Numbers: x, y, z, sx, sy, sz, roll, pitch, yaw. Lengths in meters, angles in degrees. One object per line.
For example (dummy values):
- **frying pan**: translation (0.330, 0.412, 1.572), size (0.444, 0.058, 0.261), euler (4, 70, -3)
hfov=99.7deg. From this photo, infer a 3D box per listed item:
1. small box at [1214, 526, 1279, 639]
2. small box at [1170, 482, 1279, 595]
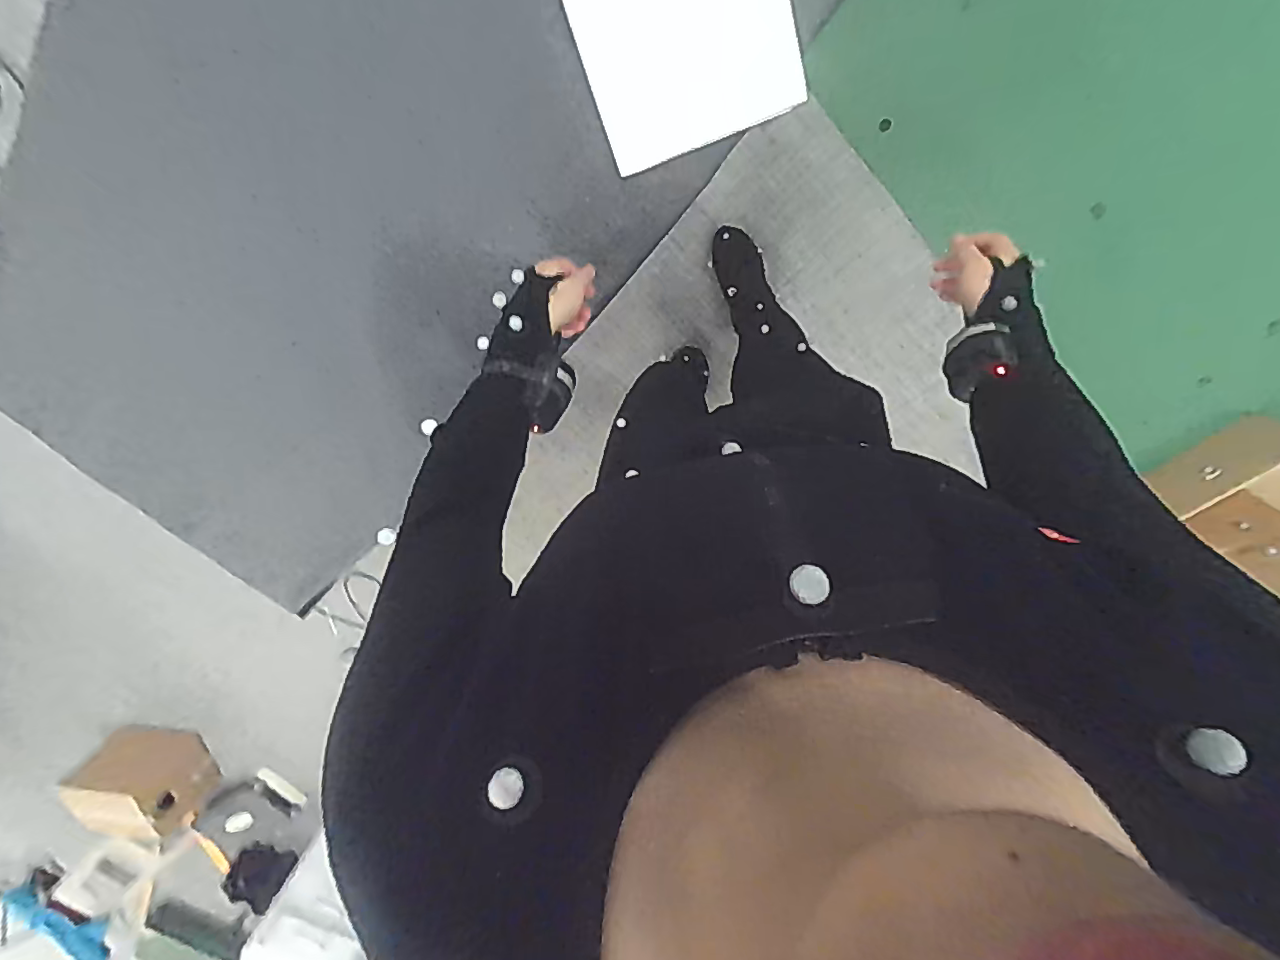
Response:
- **small box**: translation (1.394, 0.221, 1.144), size (0.168, 0.176, 0.179), euler (-33, 107, 23)
- **small box**: translation (1.419, 0.136, 1.284), size (0.179, 0.176, 0.168), euler (-30, 110, 22)
